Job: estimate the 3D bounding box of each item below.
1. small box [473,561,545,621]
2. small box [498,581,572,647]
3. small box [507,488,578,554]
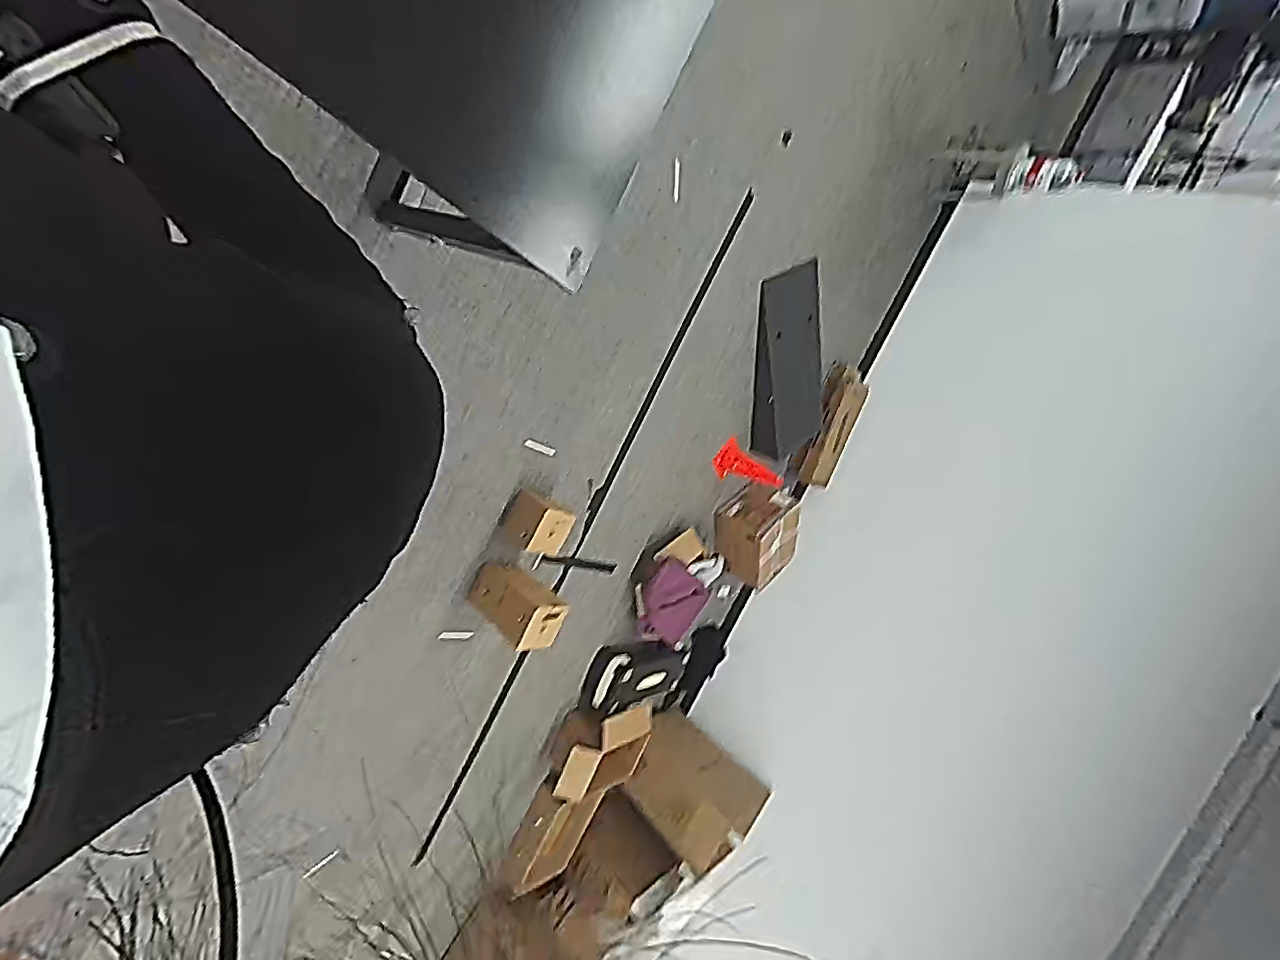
[{"bbox_3d":[-0.503,0.421,2.061,0.179,0.176,0.168,18,100,-52],"label":"small box"},{"bbox_3d":[-0.386,0.481,1.960,0.168,0.176,0.179,18,101,-53],"label":"small box"},{"bbox_3d":[-0.372,0.155,2.031,0.168,0.176,0.179,23,95,-54],"label":"small box"}]
